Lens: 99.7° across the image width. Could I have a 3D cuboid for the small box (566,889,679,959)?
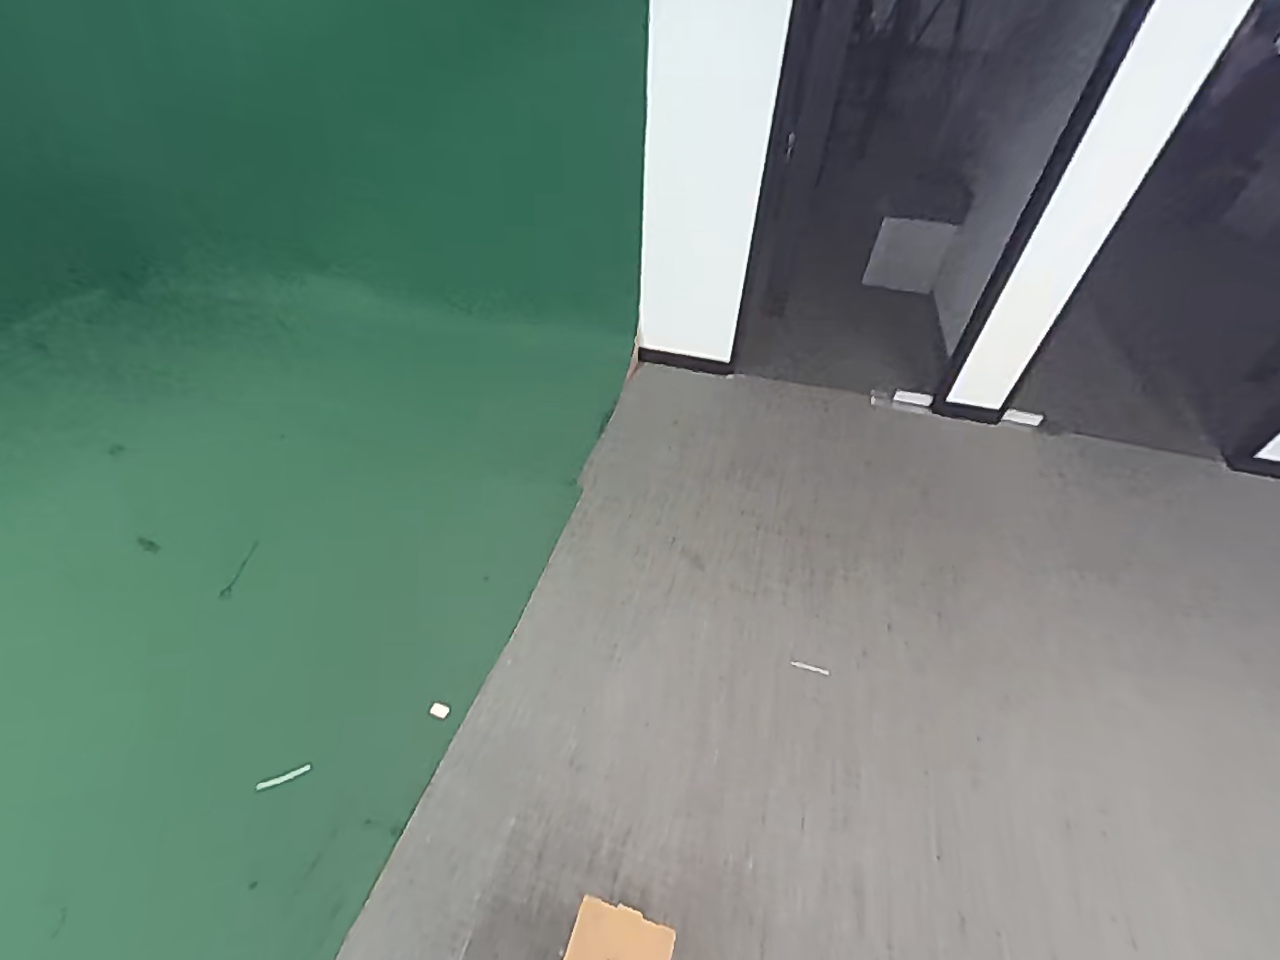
[{"bbox_3d":[-0.039,0.827,0.900,0.168,0.176,0.179,12,46,12],"label":"small box"}]
